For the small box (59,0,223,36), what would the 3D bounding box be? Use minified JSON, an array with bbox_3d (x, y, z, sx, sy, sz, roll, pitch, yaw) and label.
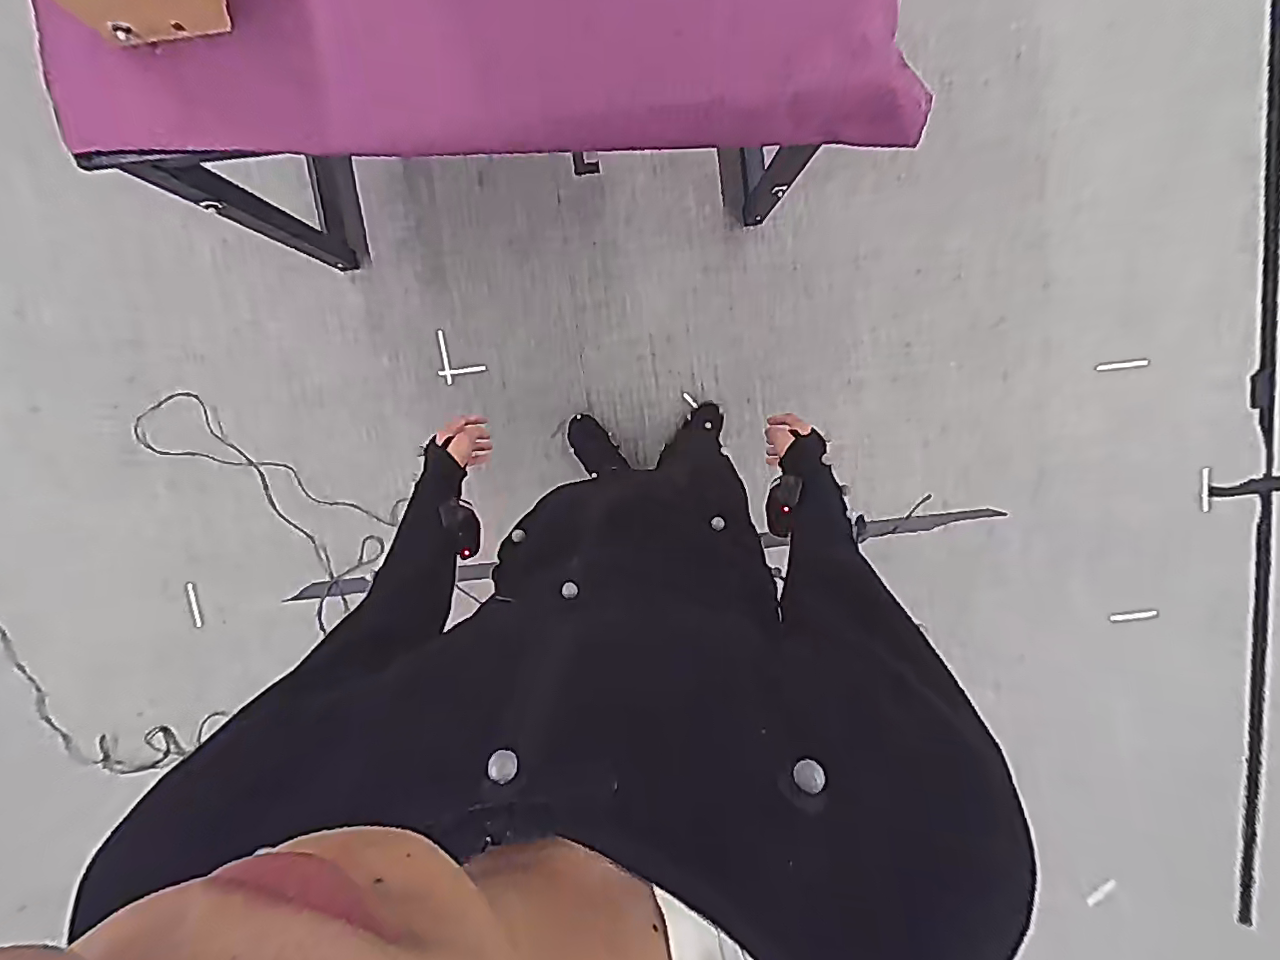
[{"bbox_3d":[-0.670,-0.699,0.674,0.168,0.176,0.179,-9,97,-1],"label":"small box"}]
